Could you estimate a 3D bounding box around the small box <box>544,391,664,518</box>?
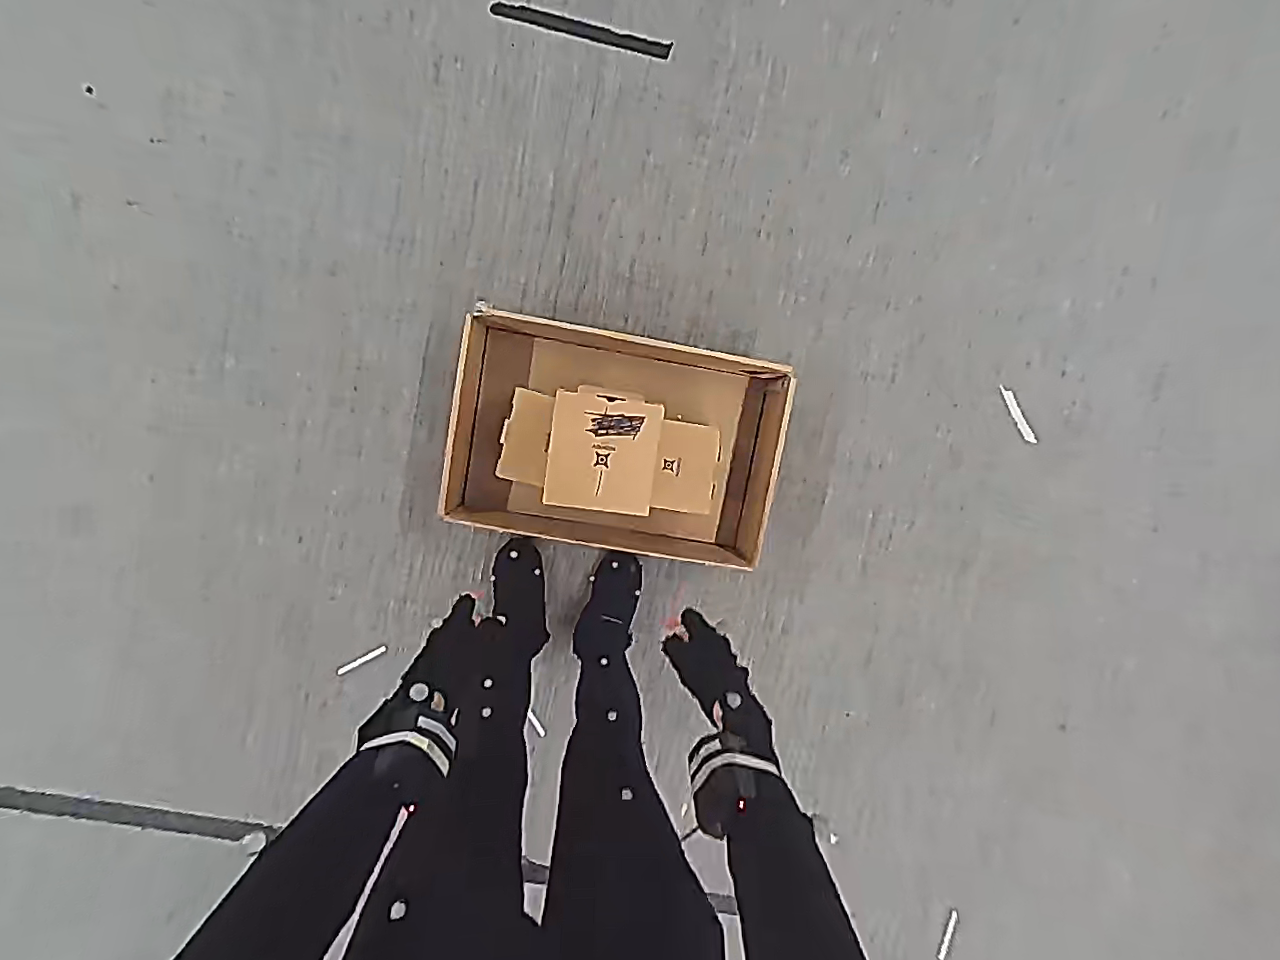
[{"bbox_3d":[-0.065,-0.045,0.898,0.168,0.176,0.179,8,96,-8],"label":"small box"}]
